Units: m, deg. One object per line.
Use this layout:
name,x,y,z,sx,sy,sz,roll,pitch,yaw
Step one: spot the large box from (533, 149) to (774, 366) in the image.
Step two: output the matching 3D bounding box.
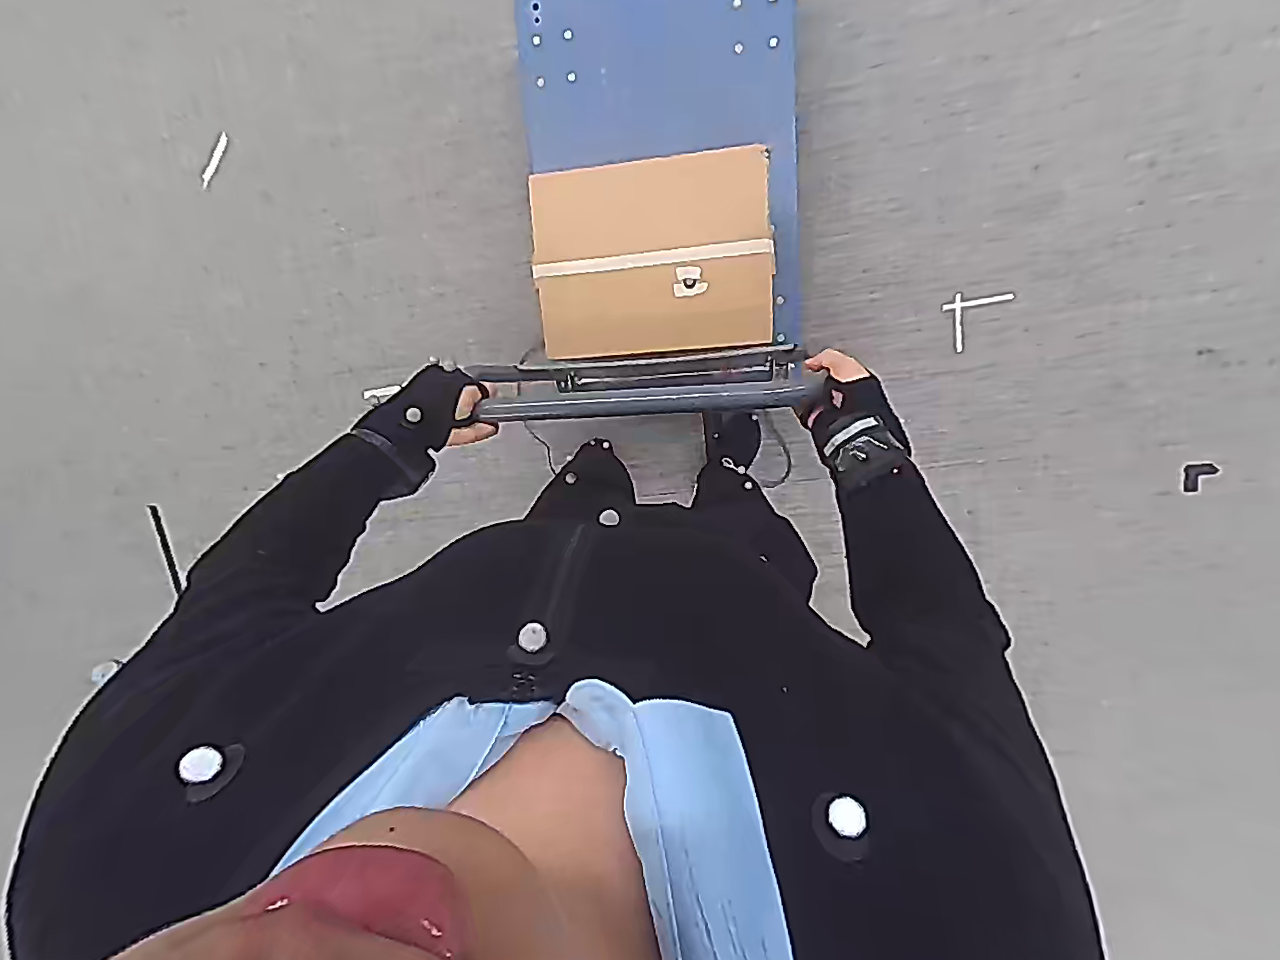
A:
large box,0.040,-0.404,1.076,0.408,0.320,0.320,-3,102,8
